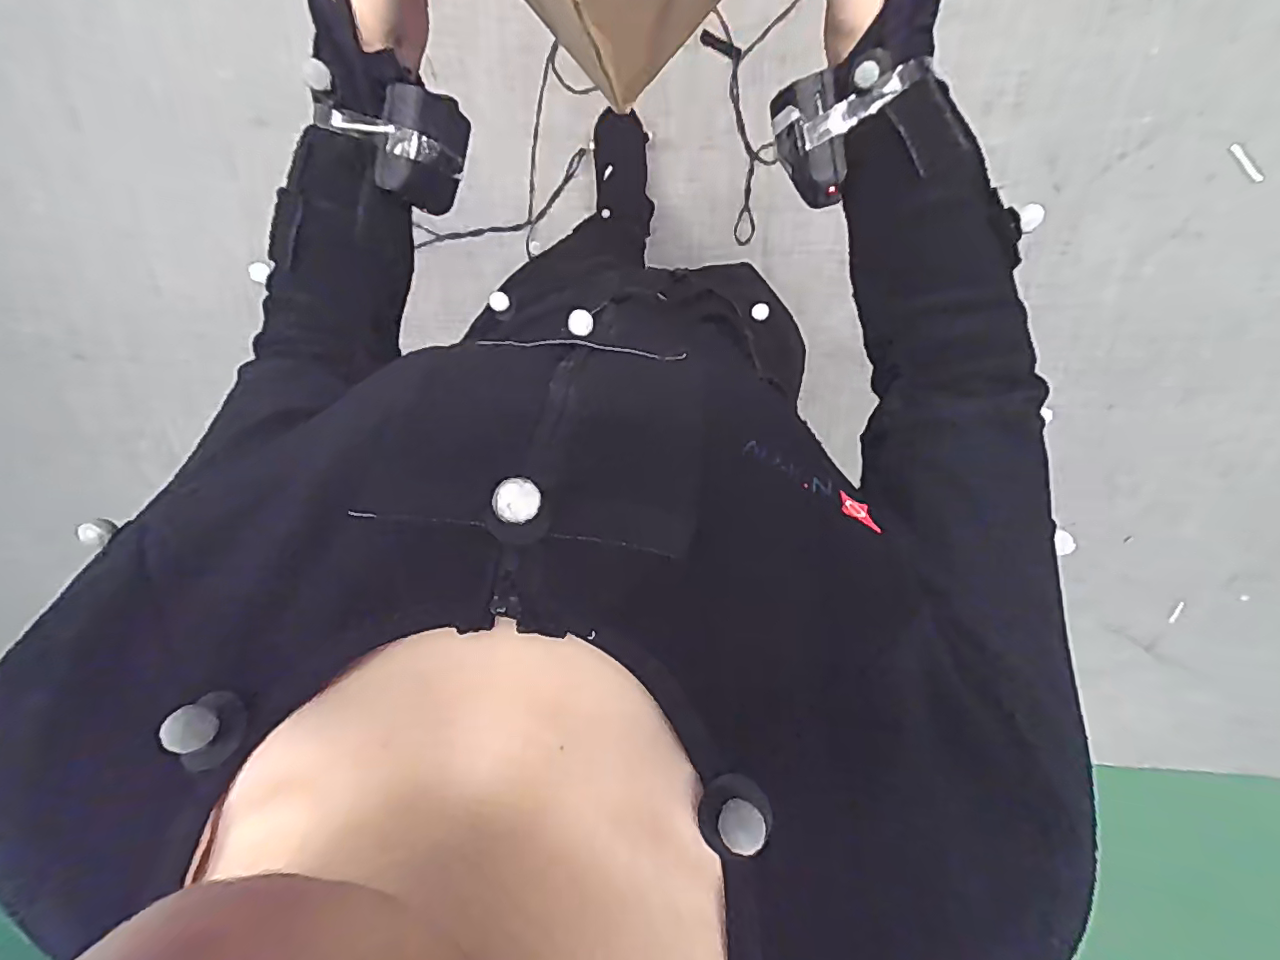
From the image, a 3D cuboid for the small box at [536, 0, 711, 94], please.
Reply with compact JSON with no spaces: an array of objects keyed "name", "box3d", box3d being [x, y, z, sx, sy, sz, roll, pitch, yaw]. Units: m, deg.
[{"name":"small box","box3d":[-0.013,-0.337,0.257,0.179,0.176,0.168,-41,102,18]}]
